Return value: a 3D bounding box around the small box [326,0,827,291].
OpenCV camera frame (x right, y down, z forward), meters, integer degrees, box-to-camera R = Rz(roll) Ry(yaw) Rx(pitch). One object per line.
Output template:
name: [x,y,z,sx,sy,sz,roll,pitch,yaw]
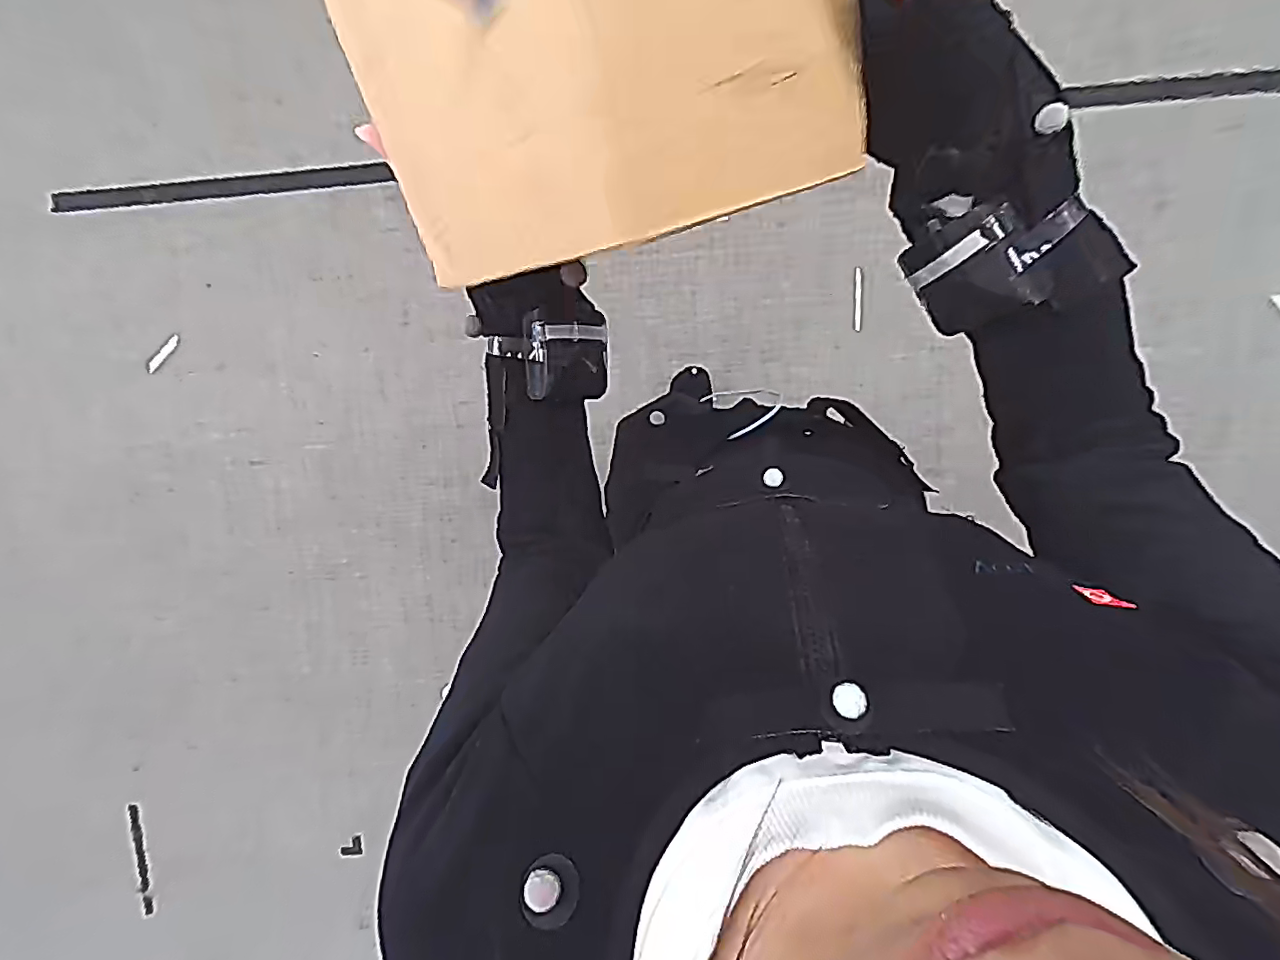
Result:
small box: [-0.035,-0.211,0.272,0.168,0.176,0.179,-31,118,-29]
